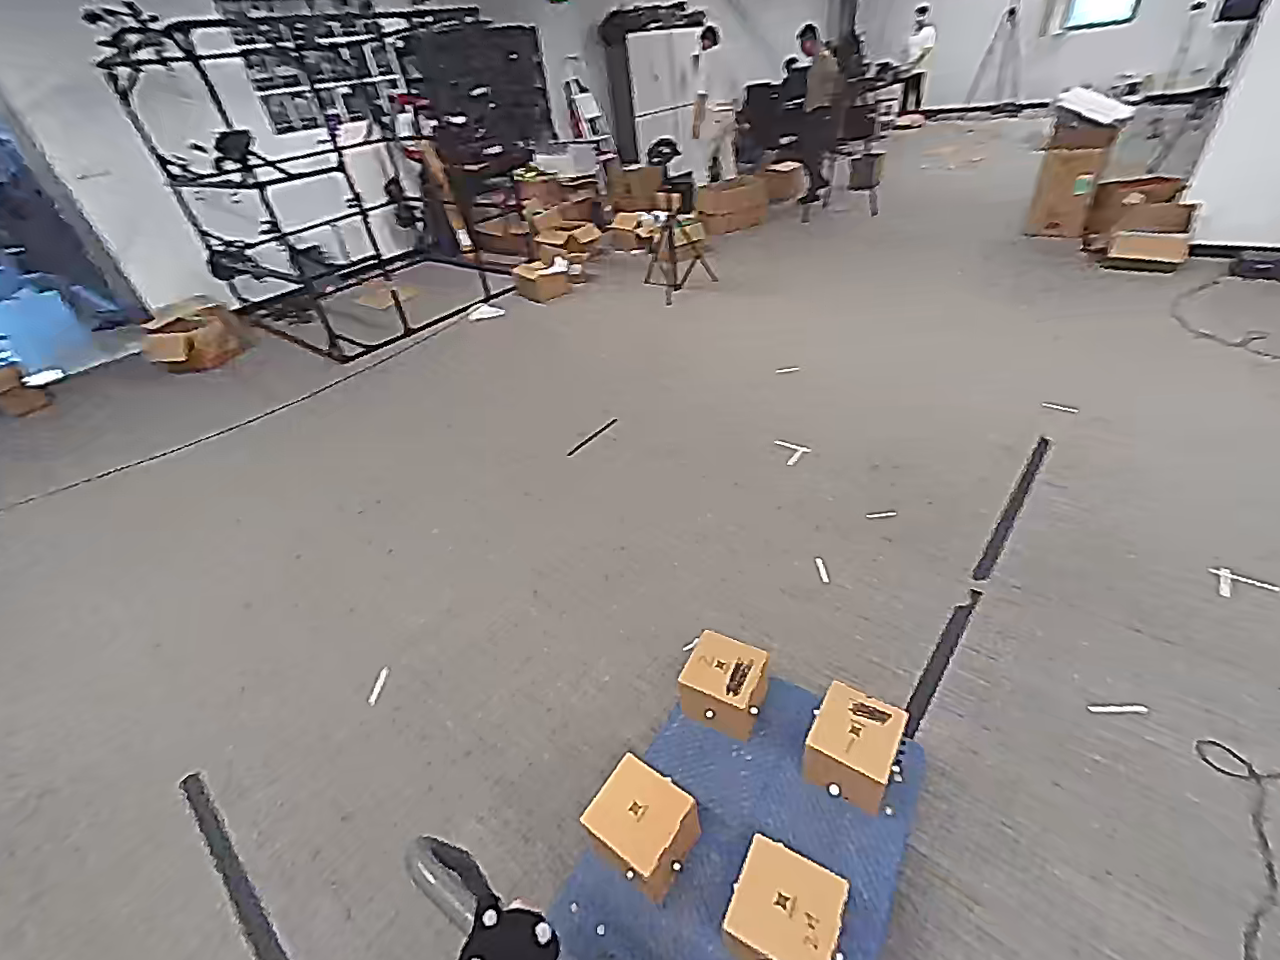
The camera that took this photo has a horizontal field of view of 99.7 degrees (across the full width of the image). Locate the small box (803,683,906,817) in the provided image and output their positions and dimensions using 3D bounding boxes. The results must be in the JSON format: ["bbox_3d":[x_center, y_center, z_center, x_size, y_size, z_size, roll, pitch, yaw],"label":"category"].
[{"bbox_3d":[0.472,0.601,1.208,0.168,0.176,0.179,19,46,31],"label":"small box"}]

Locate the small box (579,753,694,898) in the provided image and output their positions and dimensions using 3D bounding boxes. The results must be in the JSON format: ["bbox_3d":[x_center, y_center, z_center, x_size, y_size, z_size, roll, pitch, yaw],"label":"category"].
[{"bbox_3d":[-0.002,0.728,1.138,0.179,0.176,0.168,21,46,31],"label":"small box"}]

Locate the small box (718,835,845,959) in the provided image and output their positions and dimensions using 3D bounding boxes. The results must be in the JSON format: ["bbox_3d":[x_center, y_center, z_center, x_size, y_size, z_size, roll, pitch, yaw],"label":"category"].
[{"bbox_3d":[0.257,0.803,0.985,0.179,0.176,0.168,15,43,28],"label":"small box"}]
